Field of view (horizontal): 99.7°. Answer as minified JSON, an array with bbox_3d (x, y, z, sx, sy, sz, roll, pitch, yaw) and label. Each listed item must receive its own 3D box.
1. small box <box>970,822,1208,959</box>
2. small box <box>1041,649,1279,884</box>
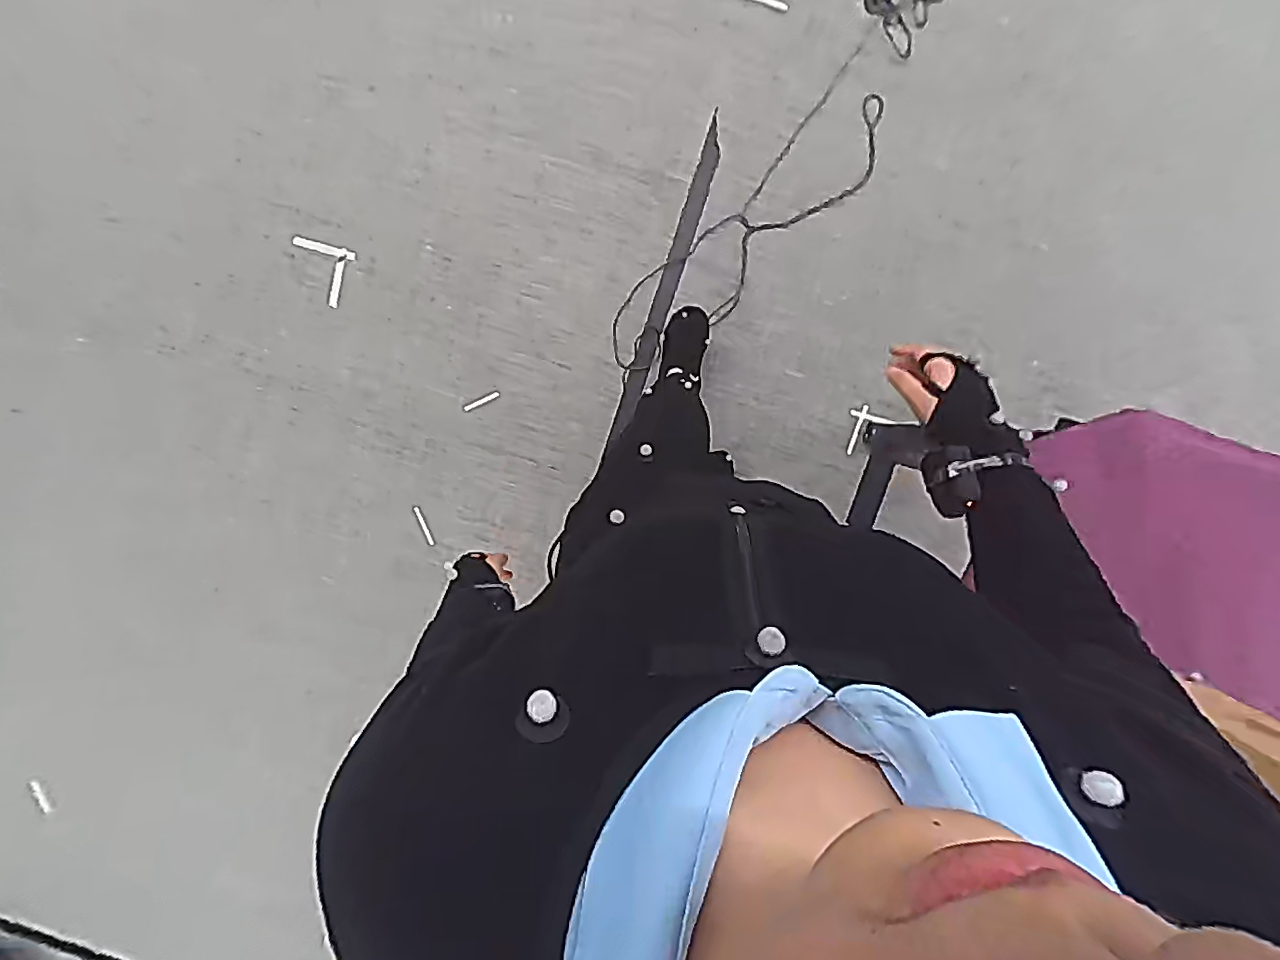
[{"bbox_3d":[0.583,0.614,0.723,0.168,0.176,0.179,19,98,1],"label":"small box"},{"bbox_3d":[0.660,0.342,0.681,0.168,0.176,0.179,18,99,1],"label":"small box"}]
